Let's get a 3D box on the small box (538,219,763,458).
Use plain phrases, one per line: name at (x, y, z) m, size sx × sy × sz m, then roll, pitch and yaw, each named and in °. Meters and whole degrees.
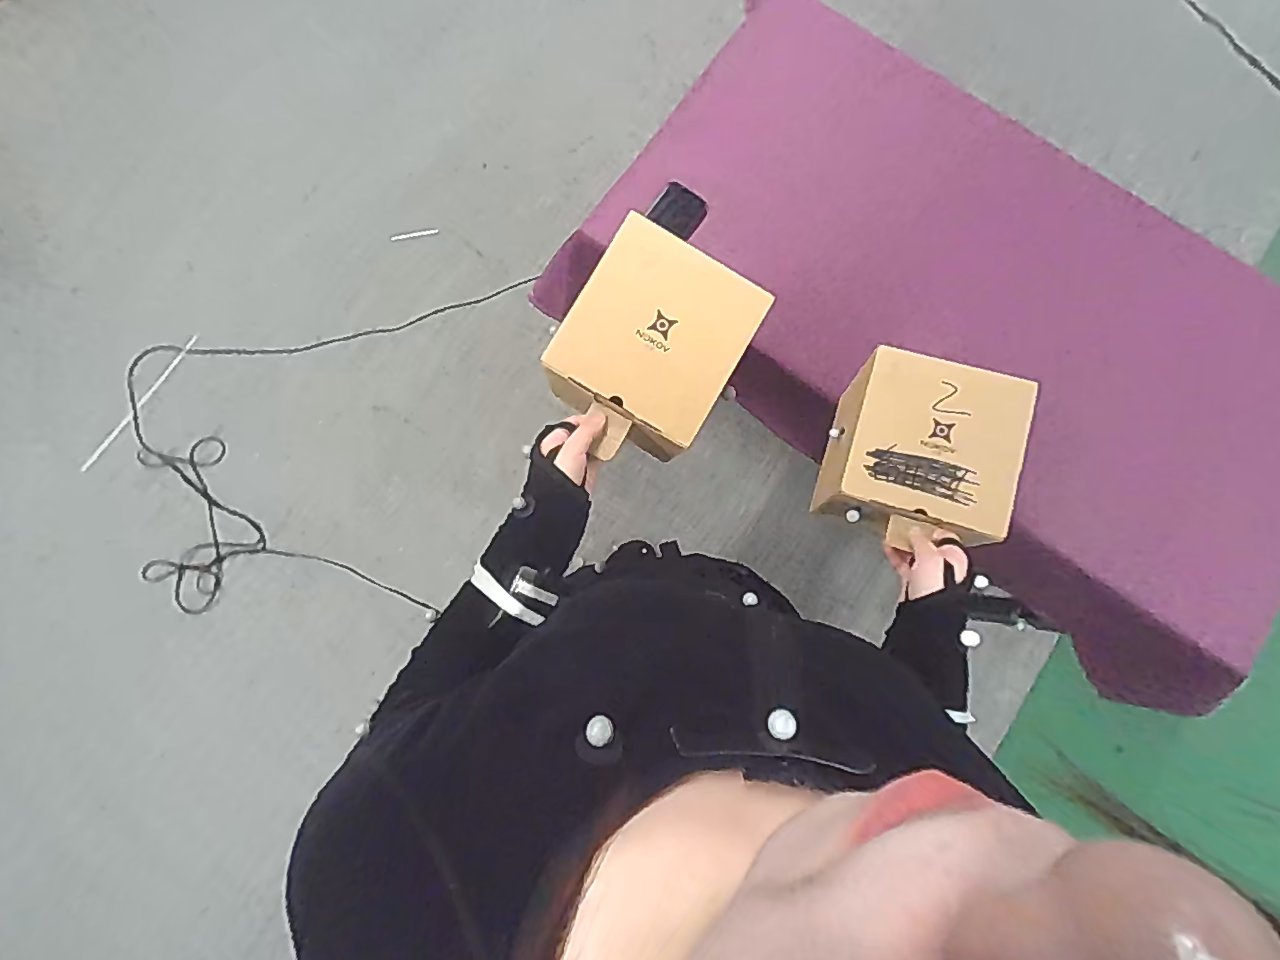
small box at (0.005, -0.140, 0.604) m, size 0.168 × 0.176 × 0.179 m, roll 30°, pitch 87°, yaw -3°
